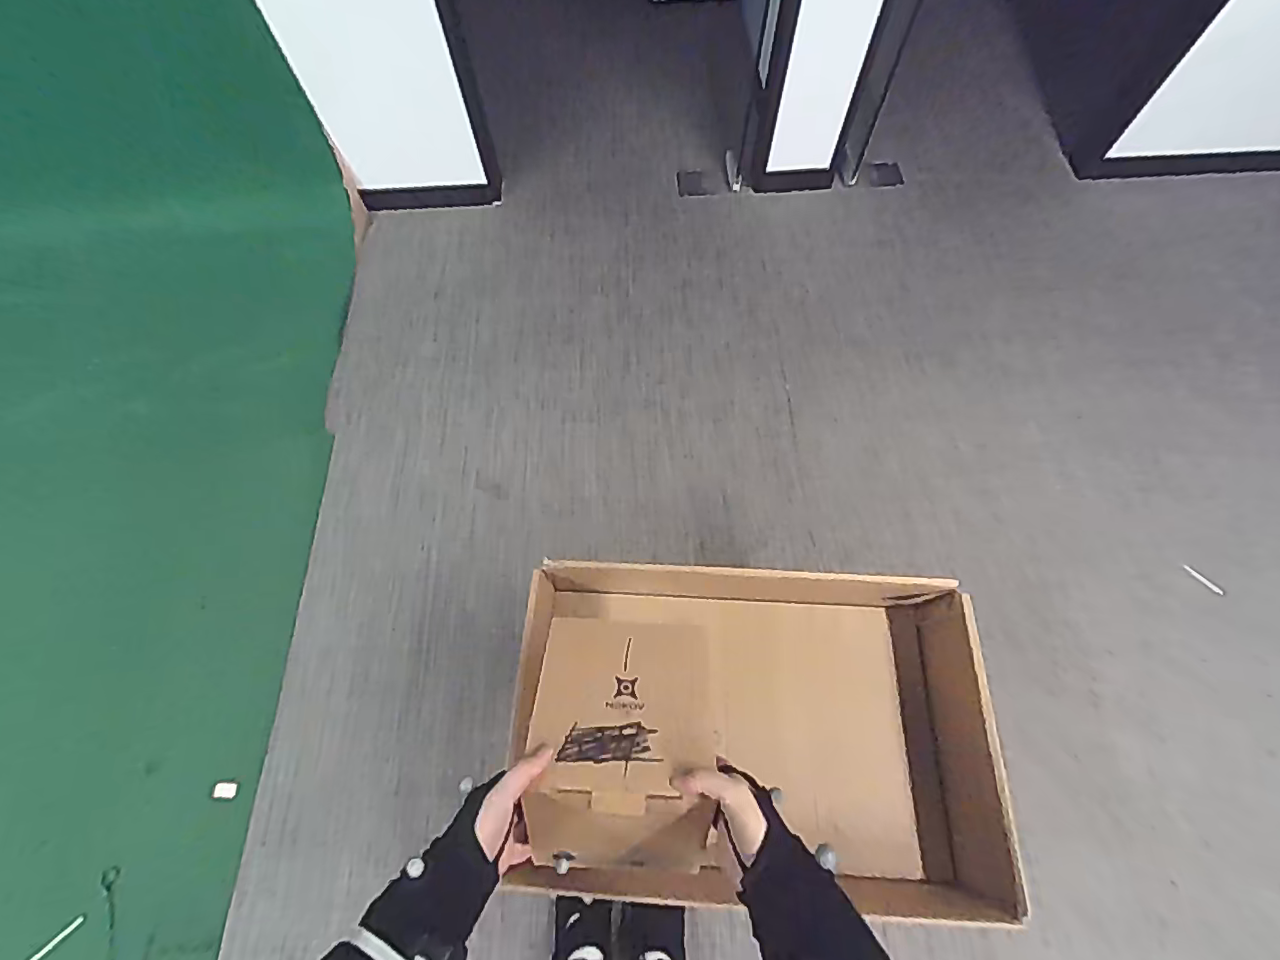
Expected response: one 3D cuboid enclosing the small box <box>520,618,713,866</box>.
[{"bbox_3d":[-0.019,0.270,0.560,0.168,0.176,0.179,4,36,0],"label":"small box"}]
